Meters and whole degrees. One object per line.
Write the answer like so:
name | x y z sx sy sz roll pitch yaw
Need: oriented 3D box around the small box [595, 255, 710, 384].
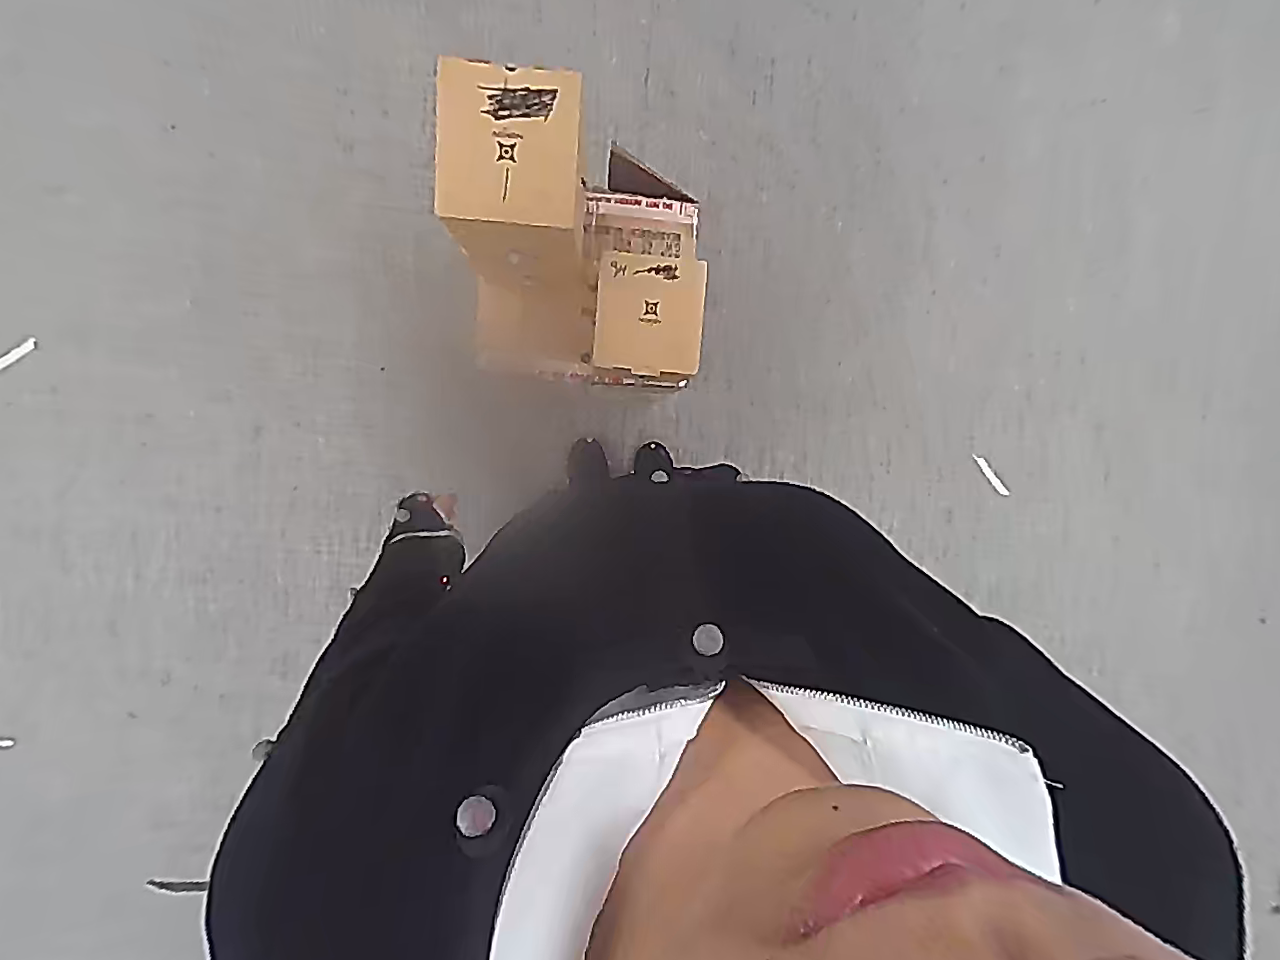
small box | 0.013 -0.256 0.903 0.168 0.176 0.179 4 97 -6

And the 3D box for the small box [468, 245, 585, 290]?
small box | -0.176 -0.417 0.872 0.168 0.176 0.179 0 98 -2

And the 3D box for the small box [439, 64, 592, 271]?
small box | -0.152 -0.393 0.710 0.168 0.176 0.179 4 97 -3
